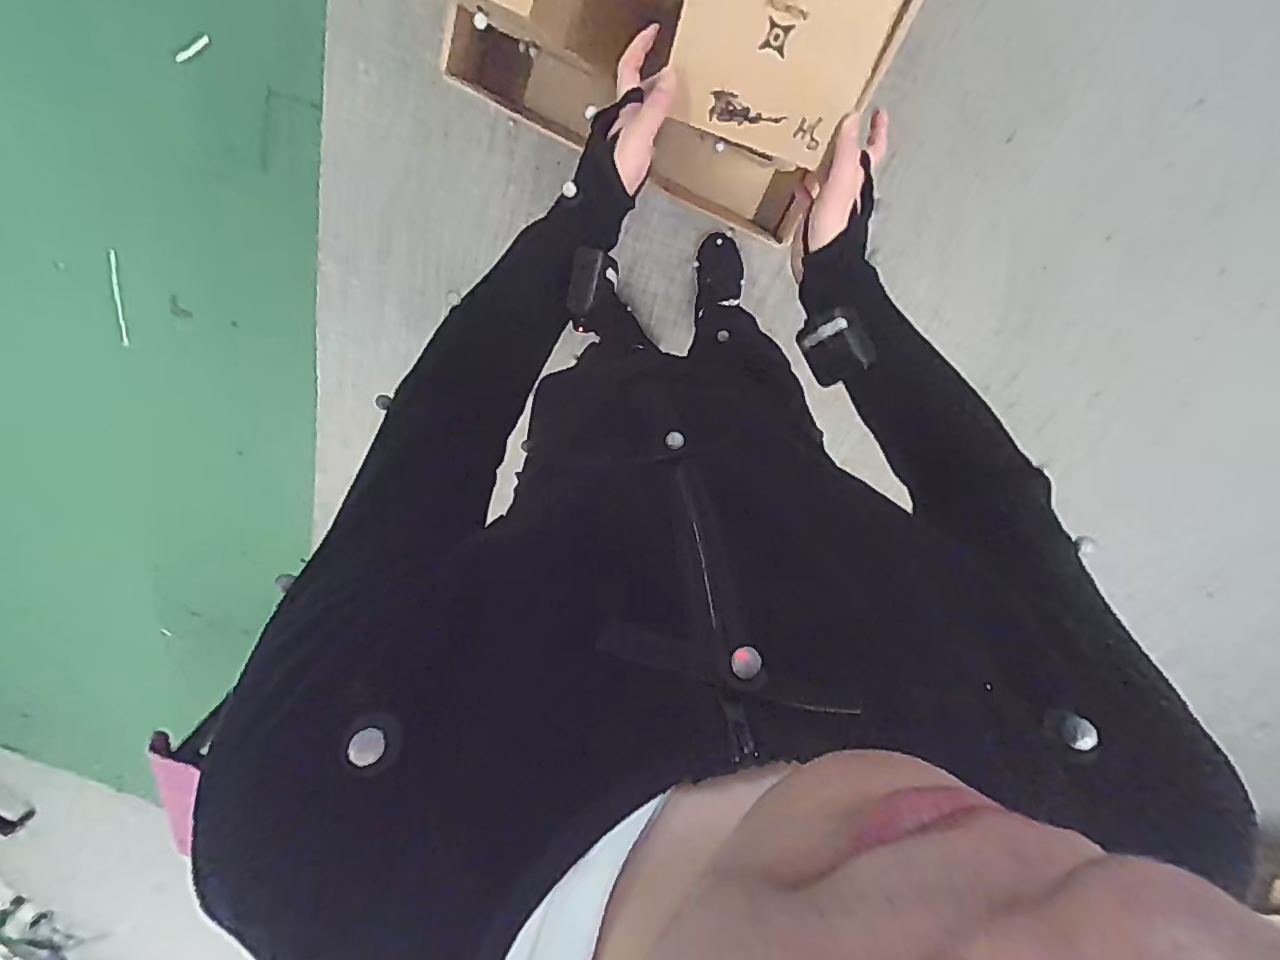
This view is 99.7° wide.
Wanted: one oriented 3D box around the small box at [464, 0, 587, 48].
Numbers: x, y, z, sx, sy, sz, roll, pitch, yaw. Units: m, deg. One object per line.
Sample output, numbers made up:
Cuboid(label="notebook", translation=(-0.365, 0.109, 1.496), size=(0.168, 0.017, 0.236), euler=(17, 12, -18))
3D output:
Cuboid(label="small box", translation=(-0.131, -0.565, 0.518), size=(0.168, 0.176, 0.179), euler=(24, 119, -3))

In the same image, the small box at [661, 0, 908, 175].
Cuboid(label="small box", translation=(0.131, -0.411, 0.498), size=(0.168, 0.176, 0.179), euler=(20, 126, -2))

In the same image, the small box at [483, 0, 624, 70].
Cuboid(label="small box", translation=(-0.108, -0.644, 0.658), size=(0.168, 0.176, 0.179), euler=(23, 120, -3))
